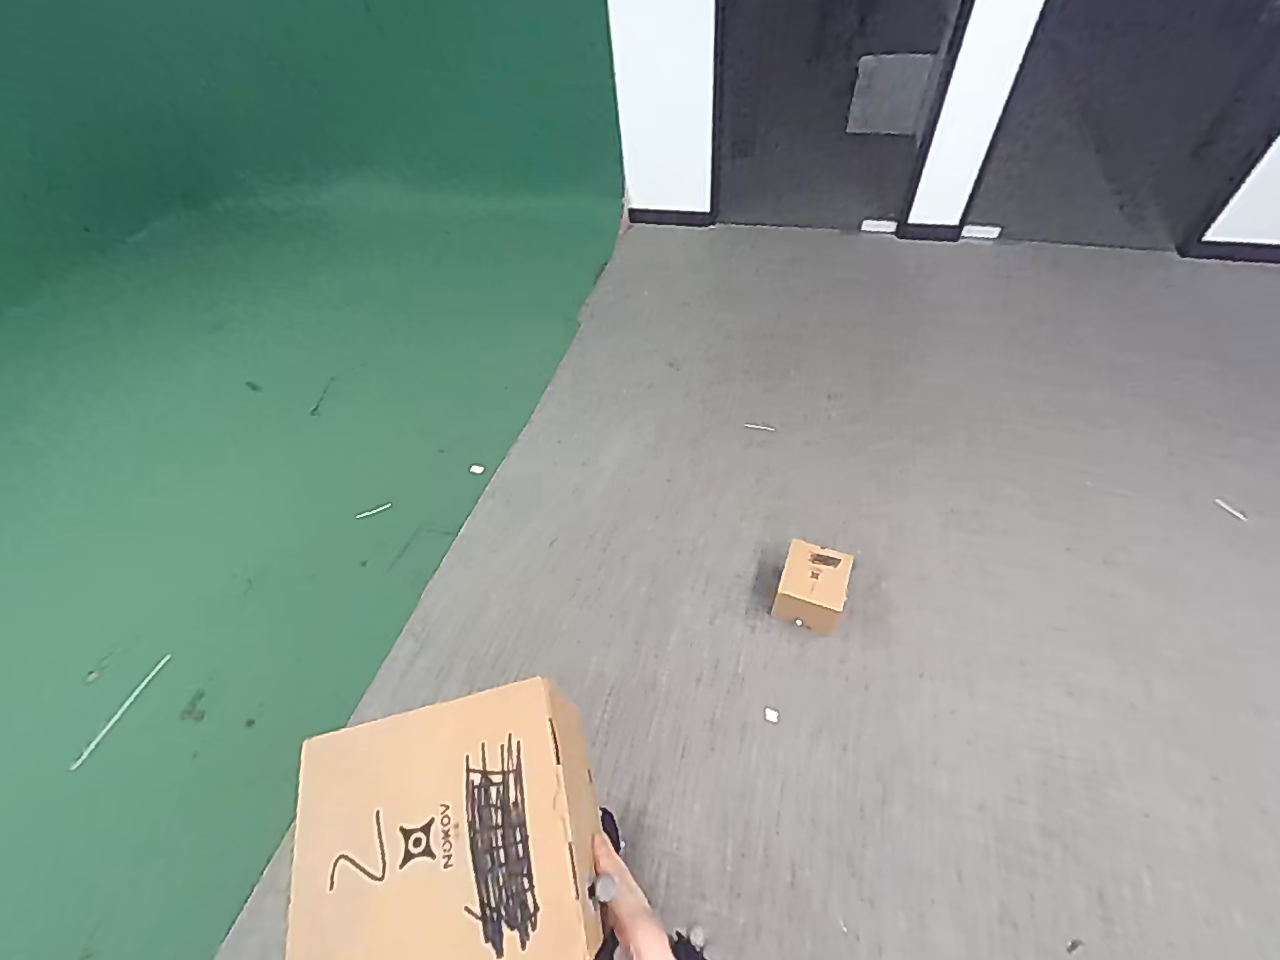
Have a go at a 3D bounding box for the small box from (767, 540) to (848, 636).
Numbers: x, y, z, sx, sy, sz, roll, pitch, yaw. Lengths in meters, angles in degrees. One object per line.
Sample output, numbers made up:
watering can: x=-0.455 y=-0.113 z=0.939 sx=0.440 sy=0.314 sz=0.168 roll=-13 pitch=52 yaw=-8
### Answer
small box: x=0.455 y=0.299 z=1.485 sx=0.168 sy=0.176 sz=0.179 roll=16 pitch=56 yaw=17
